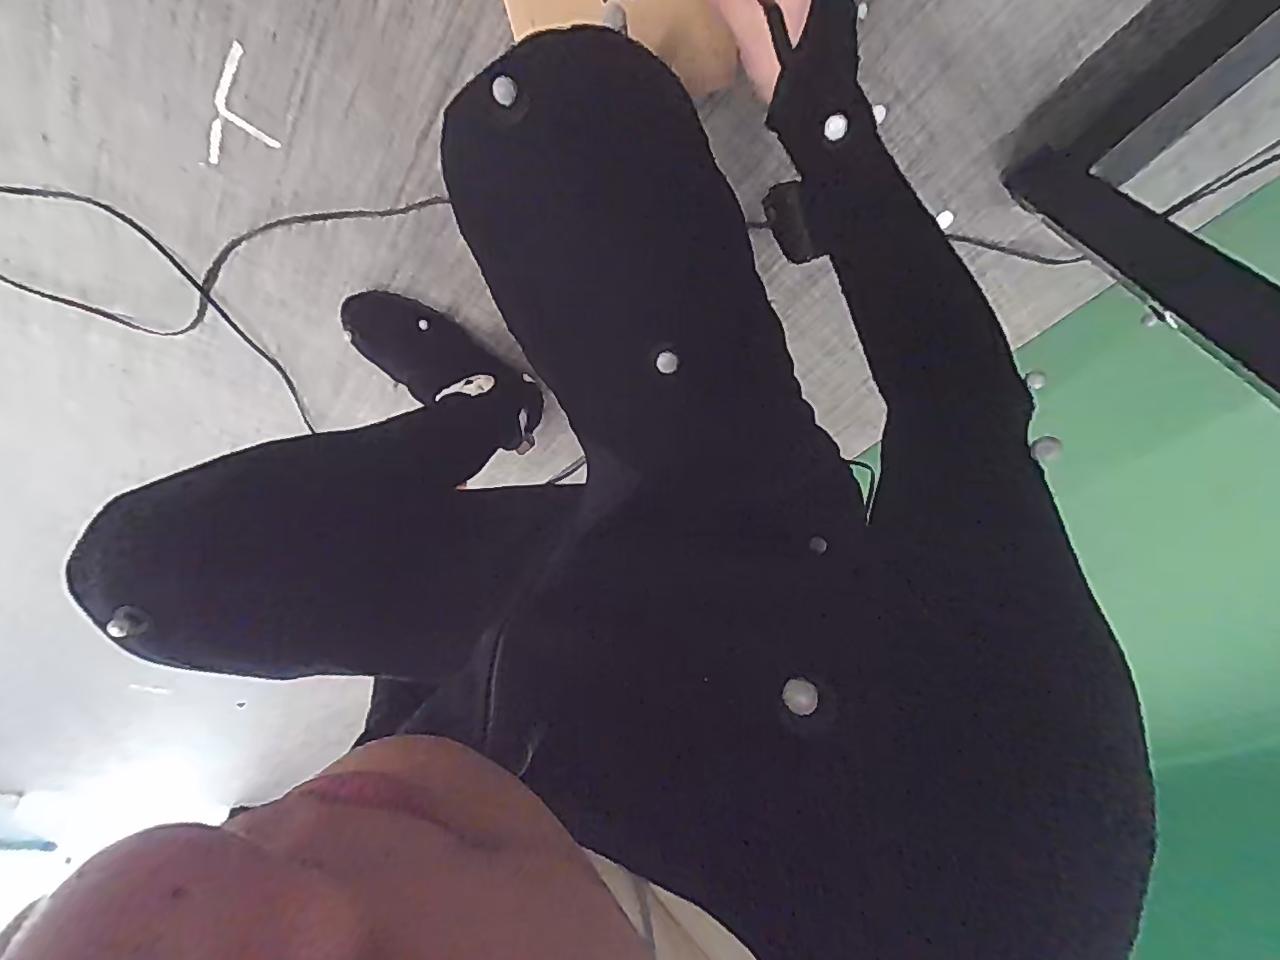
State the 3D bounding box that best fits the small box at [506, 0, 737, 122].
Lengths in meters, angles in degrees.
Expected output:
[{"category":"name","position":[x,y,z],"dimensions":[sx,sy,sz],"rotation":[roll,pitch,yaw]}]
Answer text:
[{"category":"small box","position":[-0.021,-0.415,0.419],"dimensions":[0.168,0.176,0.179],"rotation":[-8,139,5]}]
